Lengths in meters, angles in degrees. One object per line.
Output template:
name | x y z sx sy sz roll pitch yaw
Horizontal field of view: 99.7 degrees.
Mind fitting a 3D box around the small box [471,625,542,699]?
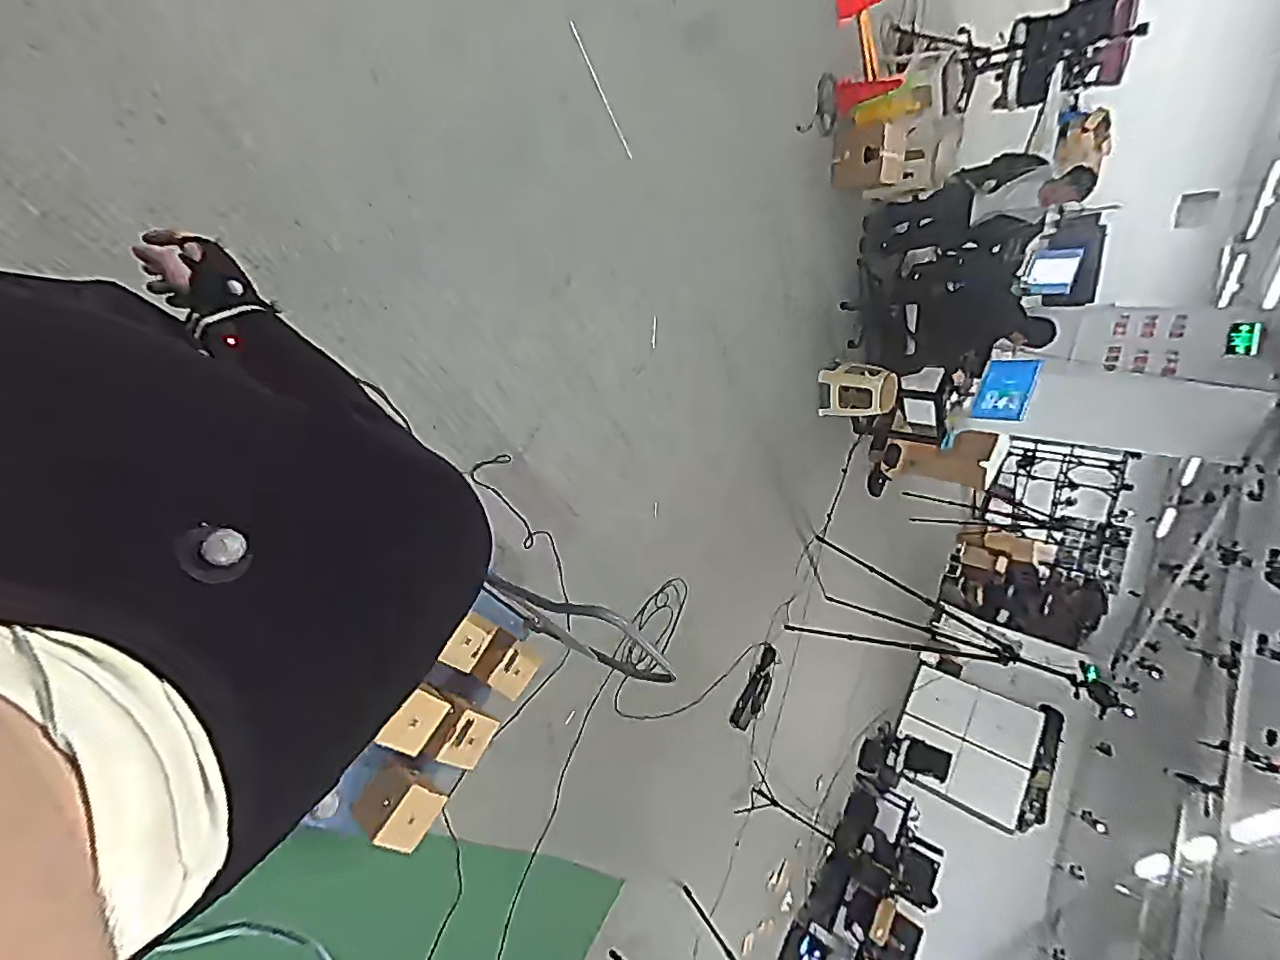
small box | -0.479 0.615 1.862 0.168 0.176 0.179 -55 138 -23

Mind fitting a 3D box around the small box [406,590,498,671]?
small box | -0.586 0.460 1.680 0.168 0.176 0.179 -58 138 -19

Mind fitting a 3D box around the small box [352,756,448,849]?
small box | -0.742 0.989 1.668 0.179 0.176 0.168 -55 136 -24
